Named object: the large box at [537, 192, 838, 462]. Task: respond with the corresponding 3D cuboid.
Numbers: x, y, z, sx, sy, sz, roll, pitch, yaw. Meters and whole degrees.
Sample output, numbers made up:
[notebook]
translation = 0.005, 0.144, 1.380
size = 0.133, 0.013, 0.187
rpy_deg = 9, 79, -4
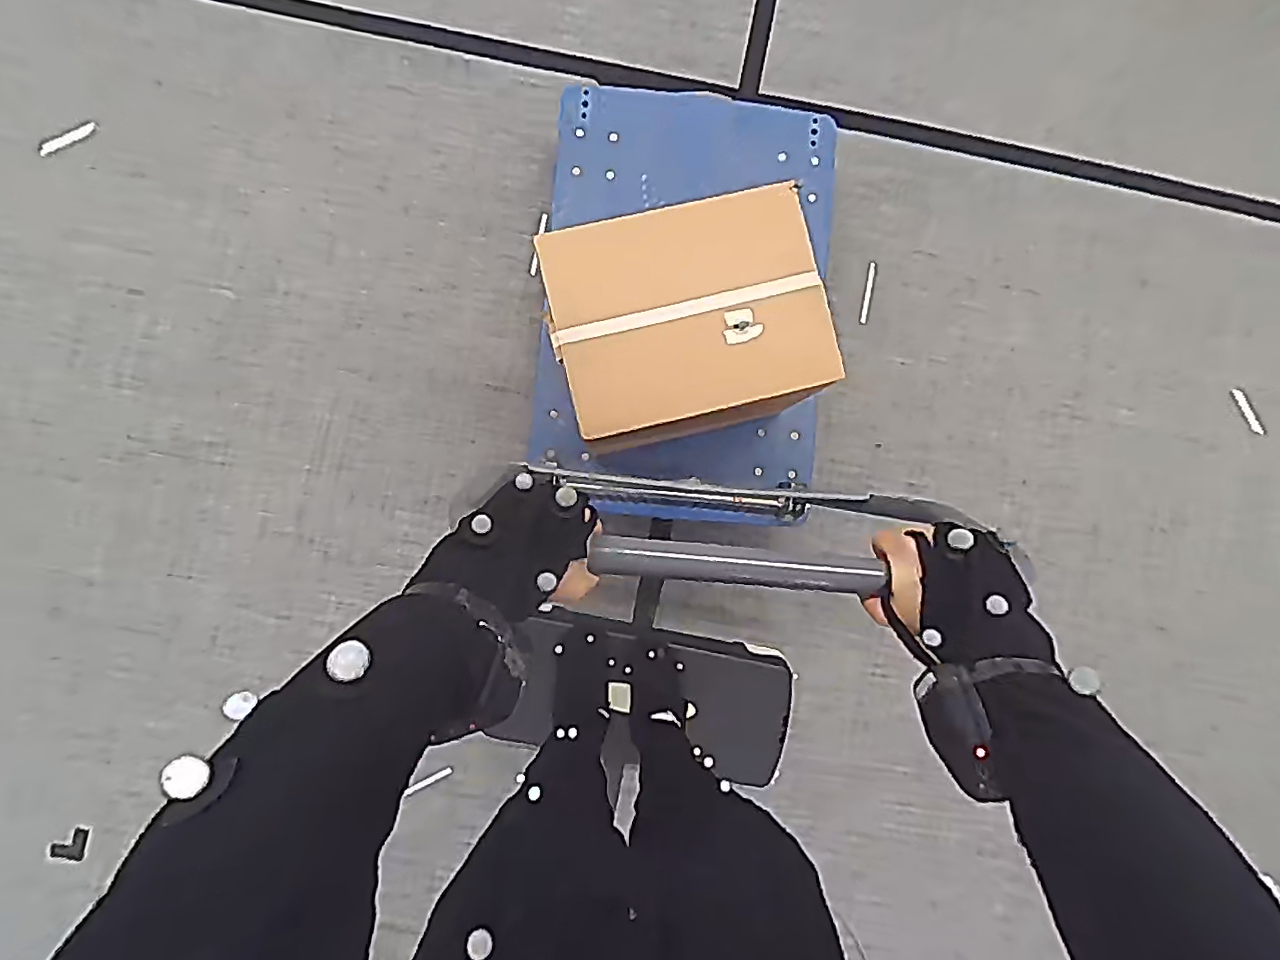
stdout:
[large box]
translation = 0.063, -0.238, 0.957
size = 0.408, 0.320, 0.320
rpy_deg = -14, 89, -5
